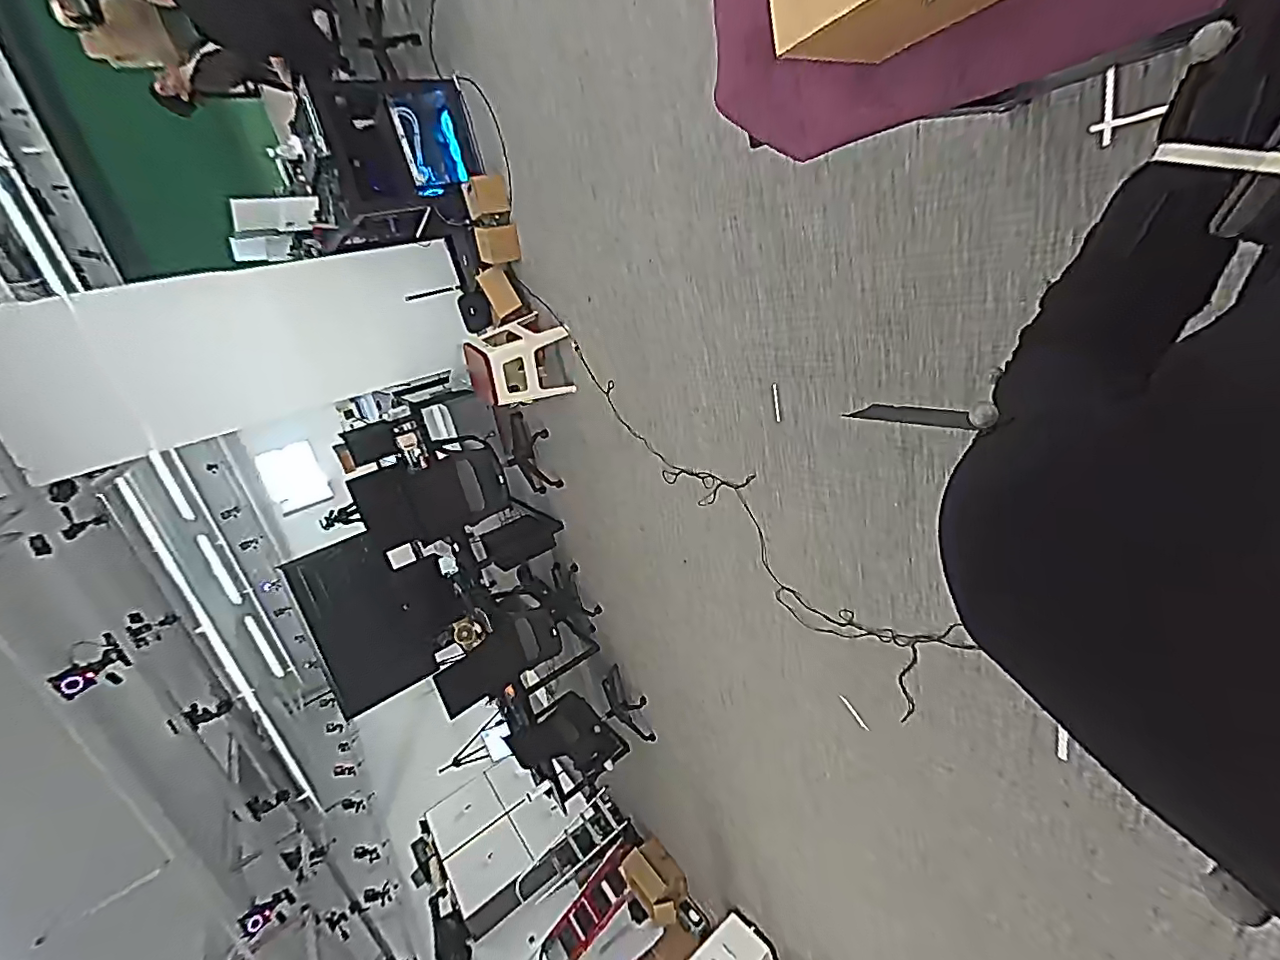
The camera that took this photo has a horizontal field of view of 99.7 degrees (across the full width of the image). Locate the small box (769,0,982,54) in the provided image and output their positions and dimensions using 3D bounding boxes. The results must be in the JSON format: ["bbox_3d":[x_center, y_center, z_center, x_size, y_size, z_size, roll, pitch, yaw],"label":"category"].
[{"bbox_3d":[0.226,-0.502,0.466,0.179,0.176,0.168,13,121,53],"label":"small box"}]
